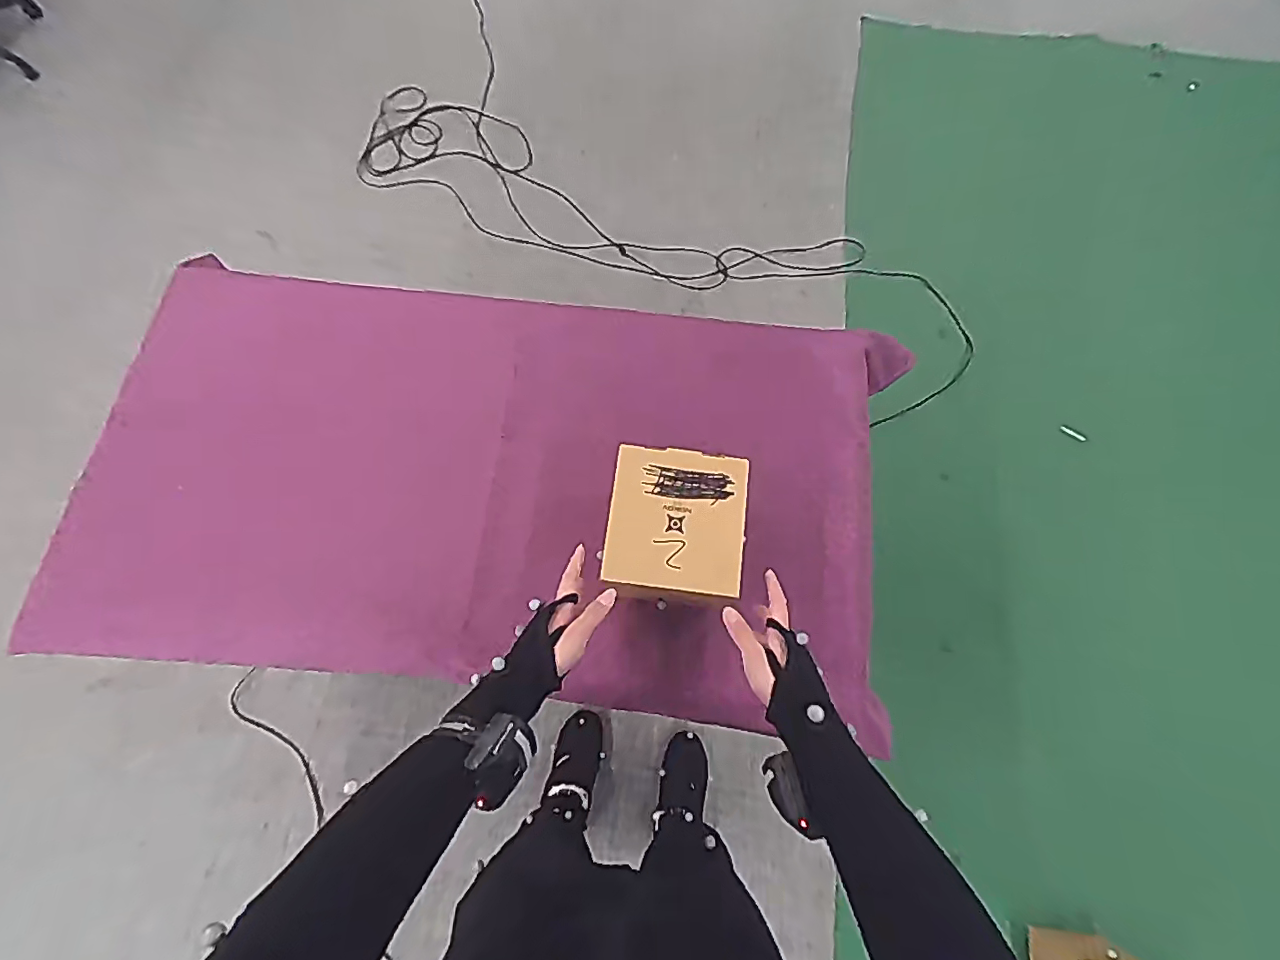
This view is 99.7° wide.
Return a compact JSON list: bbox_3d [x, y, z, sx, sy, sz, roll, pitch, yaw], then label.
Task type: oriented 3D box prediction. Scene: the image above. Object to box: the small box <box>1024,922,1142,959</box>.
[{"bbox_3d":[0.966,1.094,1.166,0.179,0.176,0.168,8,72,1],"label":"small box"}]
